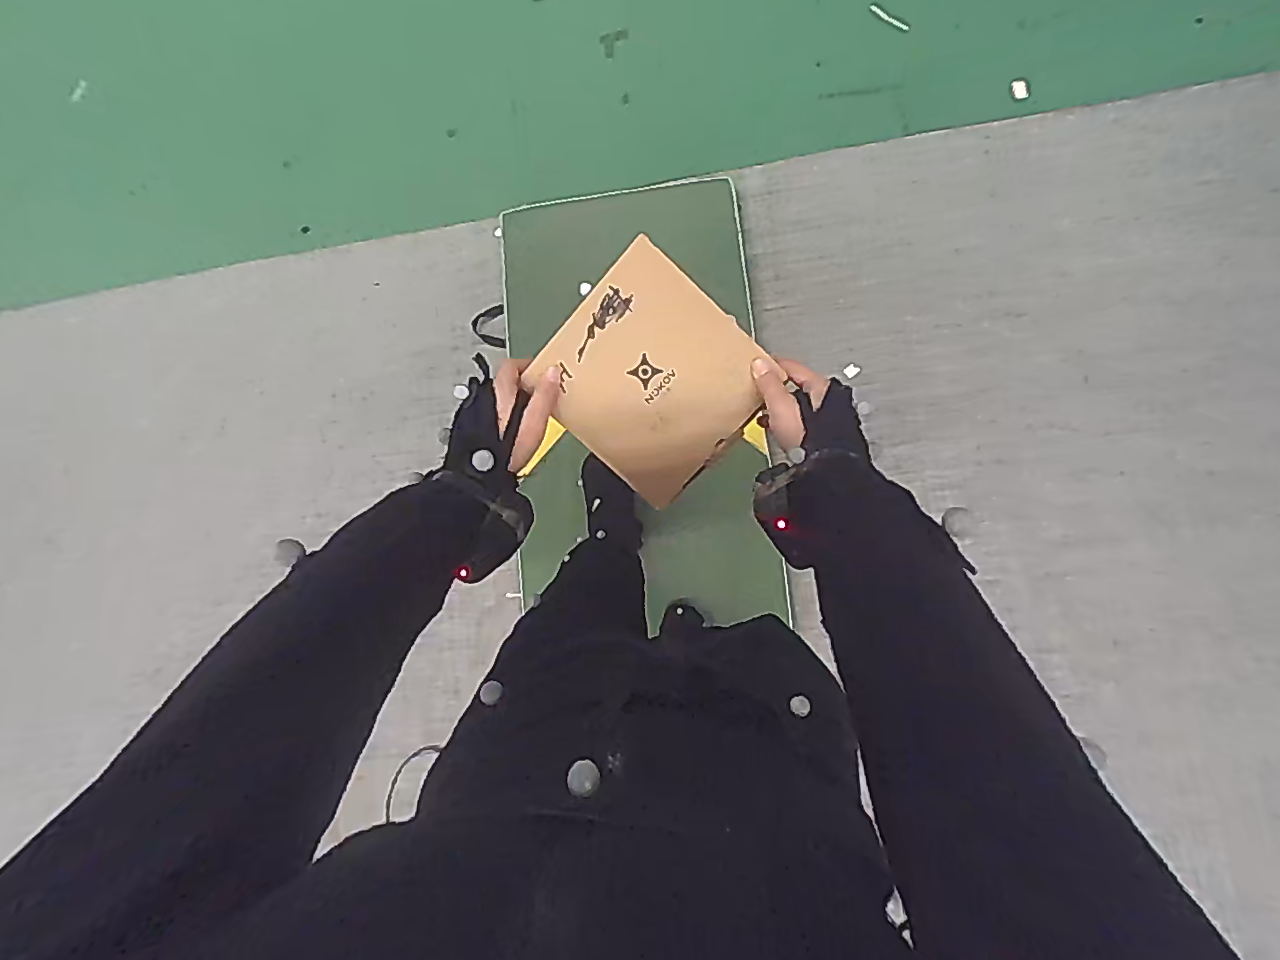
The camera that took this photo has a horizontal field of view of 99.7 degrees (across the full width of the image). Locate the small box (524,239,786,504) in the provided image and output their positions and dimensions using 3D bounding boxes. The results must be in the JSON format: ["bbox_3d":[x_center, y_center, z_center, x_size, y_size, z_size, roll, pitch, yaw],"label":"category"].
[{"bbox_3d":[0.017,-0.107,0.554,0.179,0.176,0.168,43,100,-5],"label":"small box"}]
